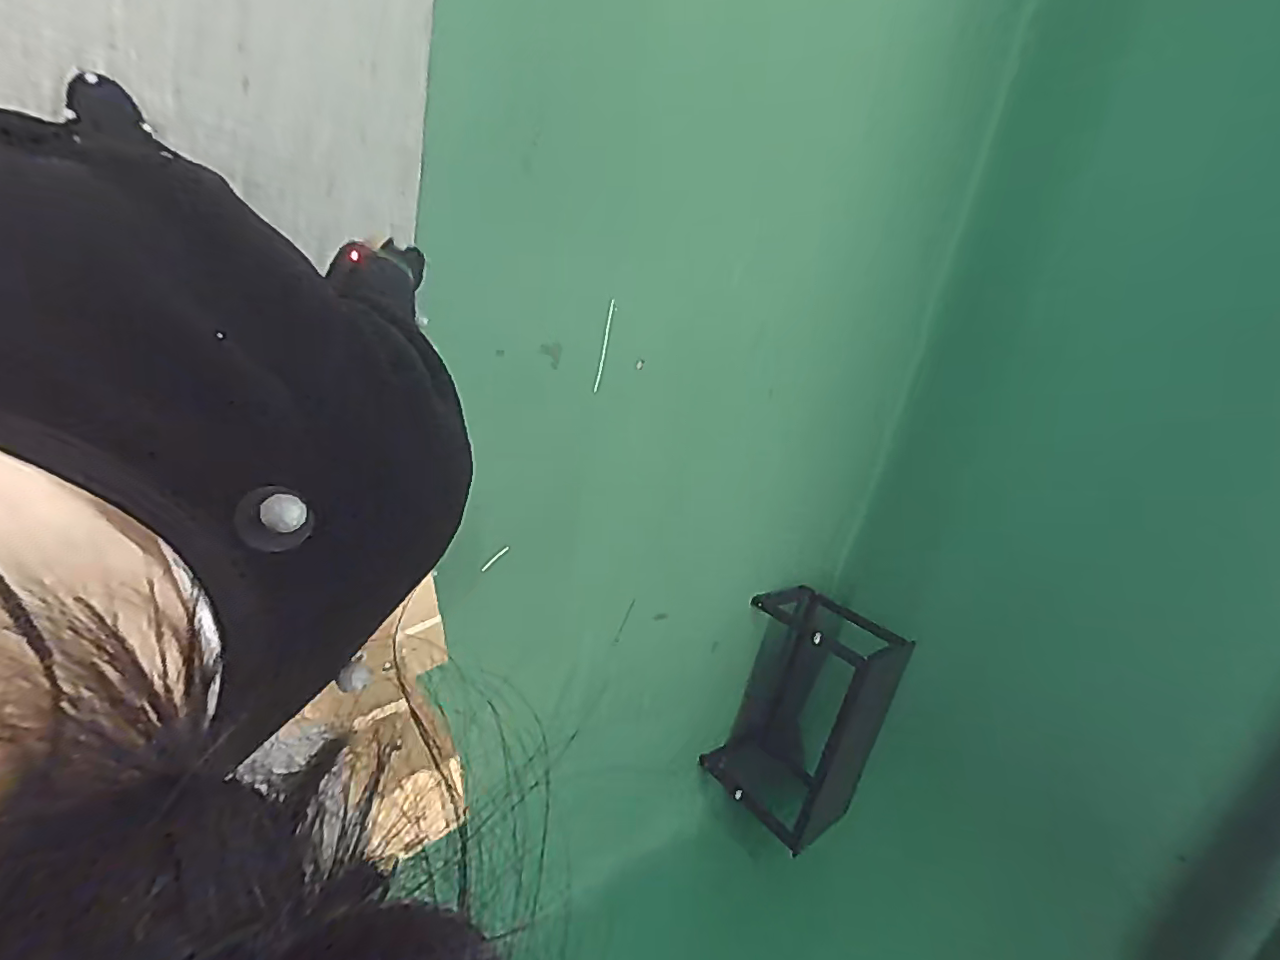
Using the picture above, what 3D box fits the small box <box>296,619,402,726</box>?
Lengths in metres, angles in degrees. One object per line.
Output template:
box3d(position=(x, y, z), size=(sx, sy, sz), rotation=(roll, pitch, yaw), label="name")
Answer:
box3d(position=(-0.660, 0.447, 1.238), size=(0.179, 0.176, 0.168), rotation=(-15, 118, -37), label="small box")

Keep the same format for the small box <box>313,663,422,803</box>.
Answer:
box3d(position=(-0.562, 0.508, 1.121), size=(0.168, 0.176, 0.179), rotation=(-13, 118, -39), label="small box")

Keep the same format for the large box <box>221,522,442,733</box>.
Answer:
box3d(position=(-0.797, 0.356, 1.421), size=(0.408, 0.320, 0.320), rotation=(-20, 124, -37), label="large box")

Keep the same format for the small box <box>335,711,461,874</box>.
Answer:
box3d(position=(-0.453, 0.565, 1.012), size=(0.168, 0.176, 0.179), rotation=(-15, 117, -38), label="small box")
